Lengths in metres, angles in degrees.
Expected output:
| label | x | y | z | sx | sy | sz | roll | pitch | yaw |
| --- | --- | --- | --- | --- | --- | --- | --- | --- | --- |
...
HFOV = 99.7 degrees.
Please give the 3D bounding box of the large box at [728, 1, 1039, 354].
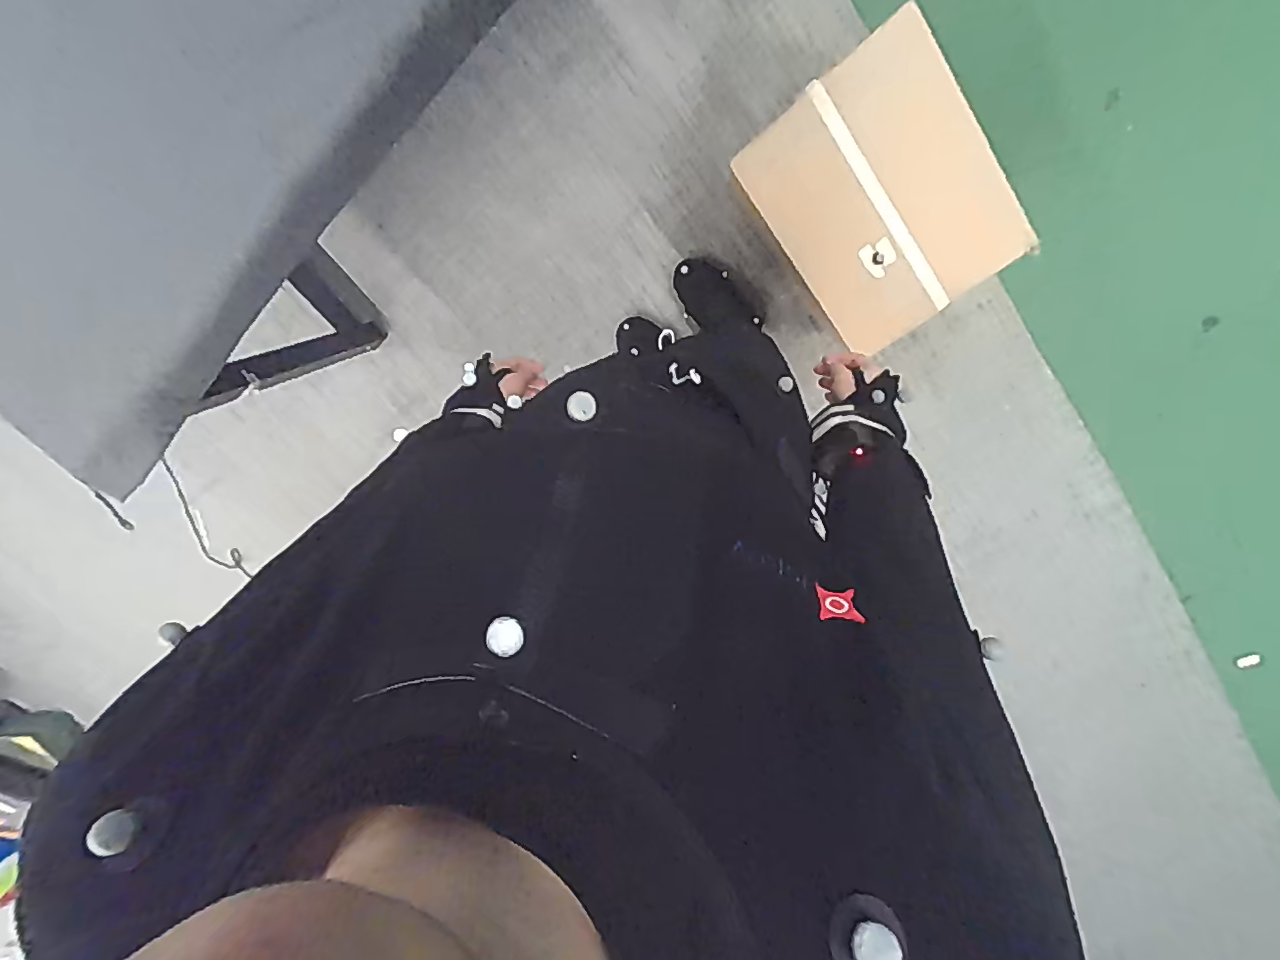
| label | x | y | z | sx | sy | sz | roll | pitch | yaw |
| --- | --- | --- | --- | --- | --- | --- | --- | --- | --- |
| large box | 0.402 | -0.507 | 0.983 | 0.320 | 0.320 | 0.408 | -35 | 106 | 22 |
